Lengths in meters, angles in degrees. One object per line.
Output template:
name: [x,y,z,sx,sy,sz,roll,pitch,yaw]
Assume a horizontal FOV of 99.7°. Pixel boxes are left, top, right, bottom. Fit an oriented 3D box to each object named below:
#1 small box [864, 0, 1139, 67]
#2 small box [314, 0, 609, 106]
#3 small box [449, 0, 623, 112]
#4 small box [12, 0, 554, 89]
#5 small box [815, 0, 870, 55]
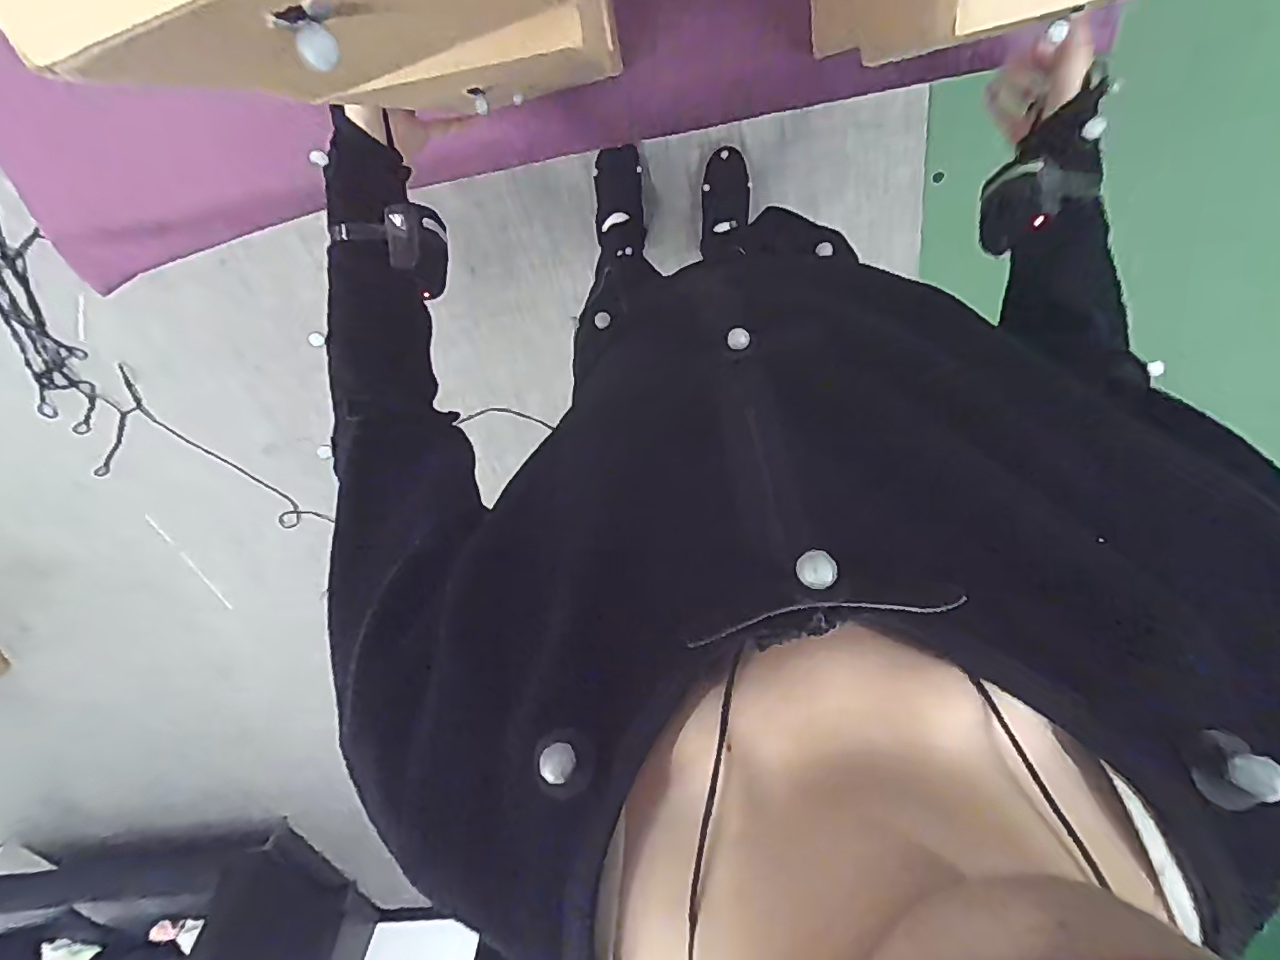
small box: [0.231,-0.362,0.299,0.168,0.176,0.179,-8,121,10]
small box: [-0.118,-0.346,0.332,0.168,0.176,0.179,-6,122,7]
small box: [-0.118,-0.437,0.471,0.179,0.176,0.168,-8,121,7]
small box: [-0.130,-0.264,0.193,0.179,0.176,0.168,-11,122,12]
small box: [0.238,-0.465,0.427,0.179,0.176,0.168,-10,122,9]
